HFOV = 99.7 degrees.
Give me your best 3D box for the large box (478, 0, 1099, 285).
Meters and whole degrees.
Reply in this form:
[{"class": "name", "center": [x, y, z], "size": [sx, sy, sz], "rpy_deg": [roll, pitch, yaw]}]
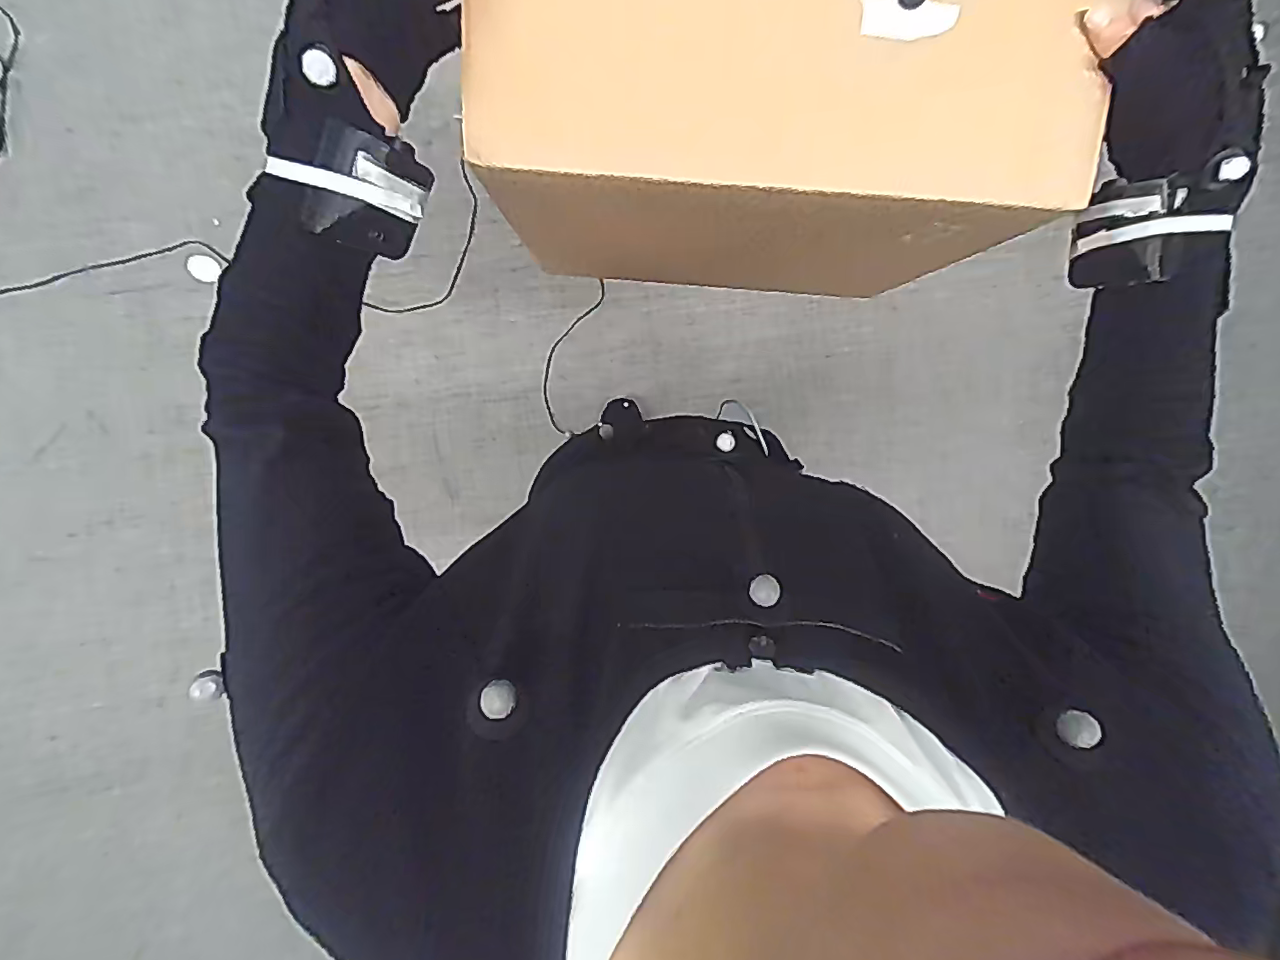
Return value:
[{"class": "large box", "center": [0.093, -0.371, 0.484], "size": [0.408, 0.320, 0.320], "rpy_deg": [3, 99, -1]}]
